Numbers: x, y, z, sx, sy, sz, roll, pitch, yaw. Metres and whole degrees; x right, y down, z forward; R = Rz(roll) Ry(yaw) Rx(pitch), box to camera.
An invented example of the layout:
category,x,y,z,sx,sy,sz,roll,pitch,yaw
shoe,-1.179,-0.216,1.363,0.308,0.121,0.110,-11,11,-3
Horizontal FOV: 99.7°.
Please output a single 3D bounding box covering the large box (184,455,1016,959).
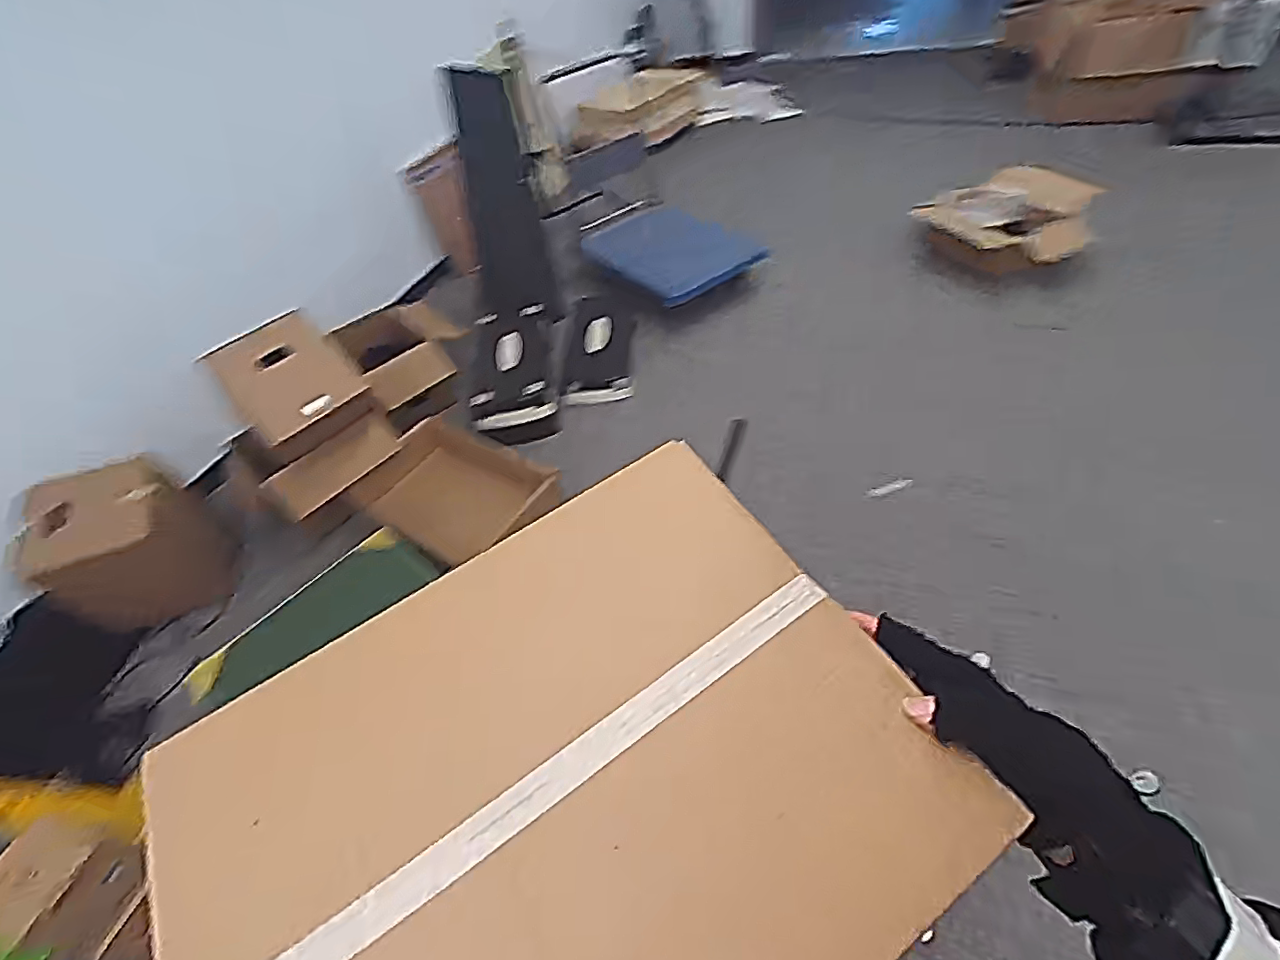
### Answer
category,x,y,z,sx,sy,sz,roll,pitch,yaw
large box,-0.028,0.259,0.437,0.408,0.320,0.320,-31,58,-13
